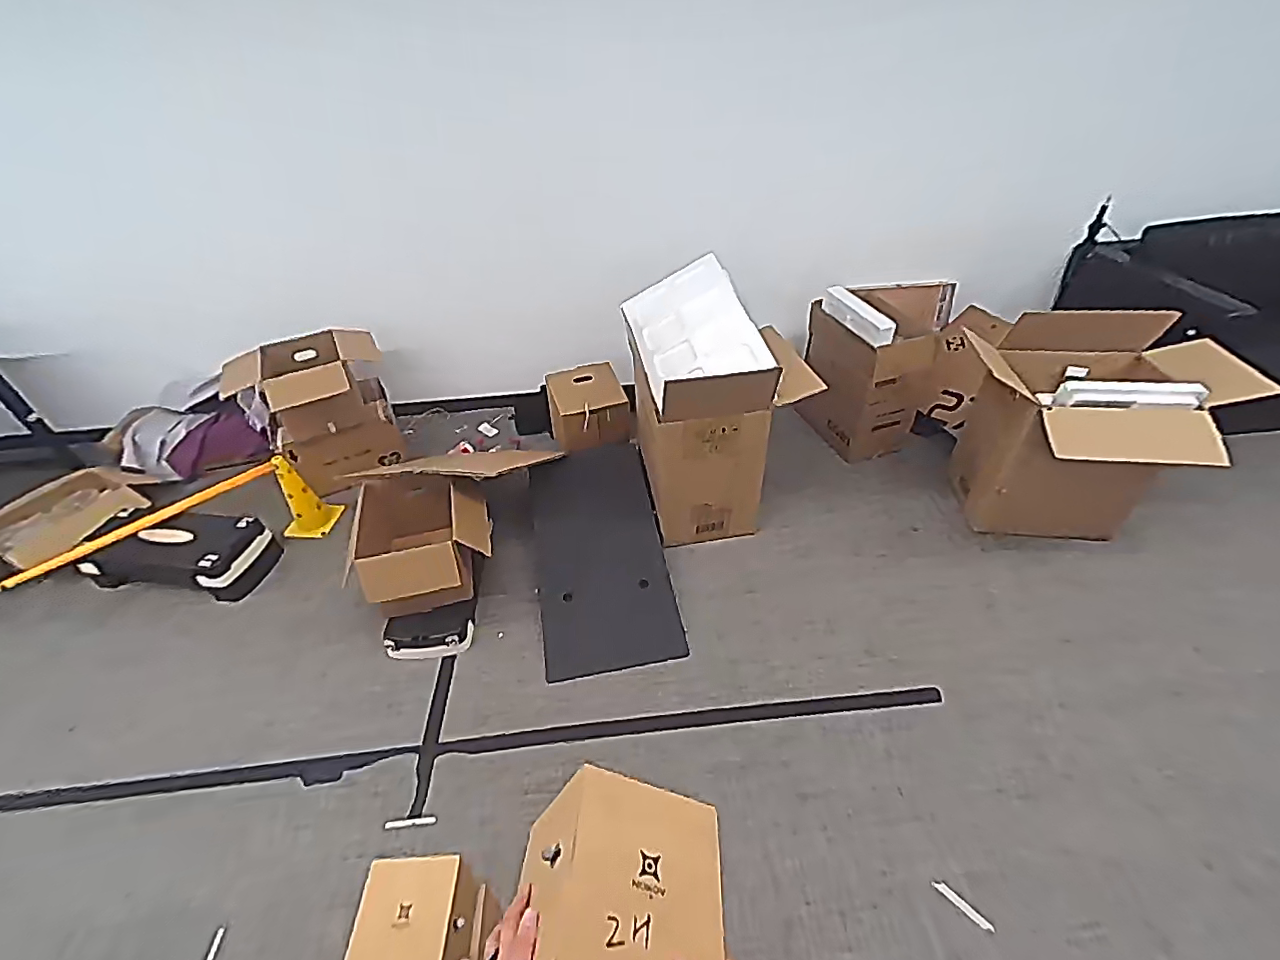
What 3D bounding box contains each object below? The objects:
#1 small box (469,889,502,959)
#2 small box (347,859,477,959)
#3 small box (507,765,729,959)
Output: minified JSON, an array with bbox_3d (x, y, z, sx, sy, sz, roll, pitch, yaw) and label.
[{"bbox_3d":[-0.388,0.949,1.082,0.179,0.176,0.168,-4,40,-3],"label":"small box"},{"bbox_3d":[-0.404,0.820,0.983,0.168,0.176,0.179,-3,41,-1],"label":"small box"},{"bbox_3d":[-0.025,0.440,0.554,0.168,0.176,0.179,24,31,-10],"label":"small box"}]
